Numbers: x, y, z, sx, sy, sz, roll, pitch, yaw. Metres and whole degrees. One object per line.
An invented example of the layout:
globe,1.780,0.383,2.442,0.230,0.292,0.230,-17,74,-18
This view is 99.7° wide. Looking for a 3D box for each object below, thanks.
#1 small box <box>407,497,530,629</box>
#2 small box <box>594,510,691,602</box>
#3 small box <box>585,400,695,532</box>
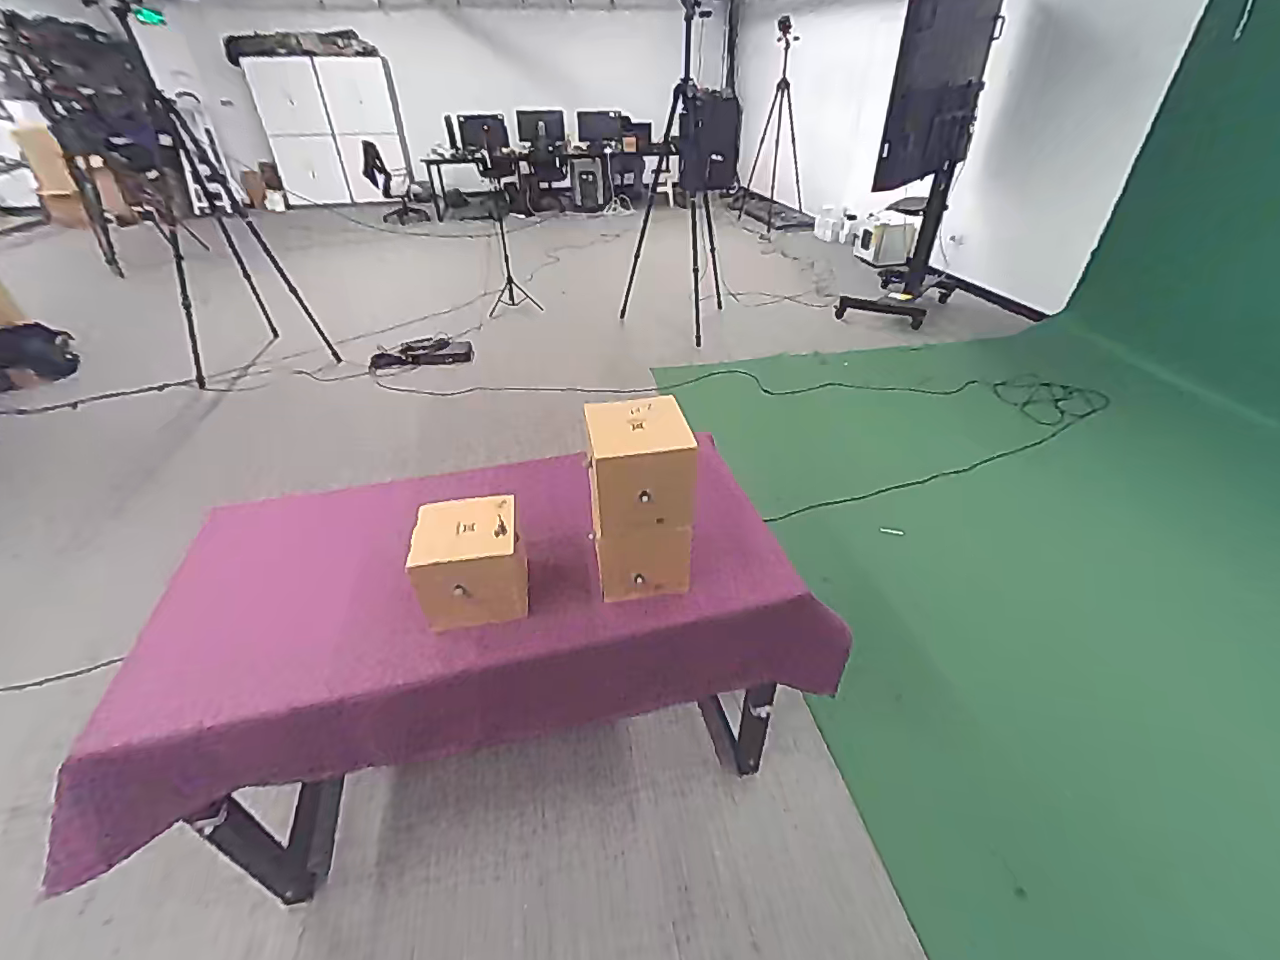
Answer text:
small box,-0.305,0.156,1.000,0.179,0.176,0.168,-7,36,-7
small box,-0.002,0.112,1.055,0.168,0.176,0.179,-6,37,-7
small box,-0.003,-0.022,0.957,0.168,0.176,0.179,-6,36,-8
